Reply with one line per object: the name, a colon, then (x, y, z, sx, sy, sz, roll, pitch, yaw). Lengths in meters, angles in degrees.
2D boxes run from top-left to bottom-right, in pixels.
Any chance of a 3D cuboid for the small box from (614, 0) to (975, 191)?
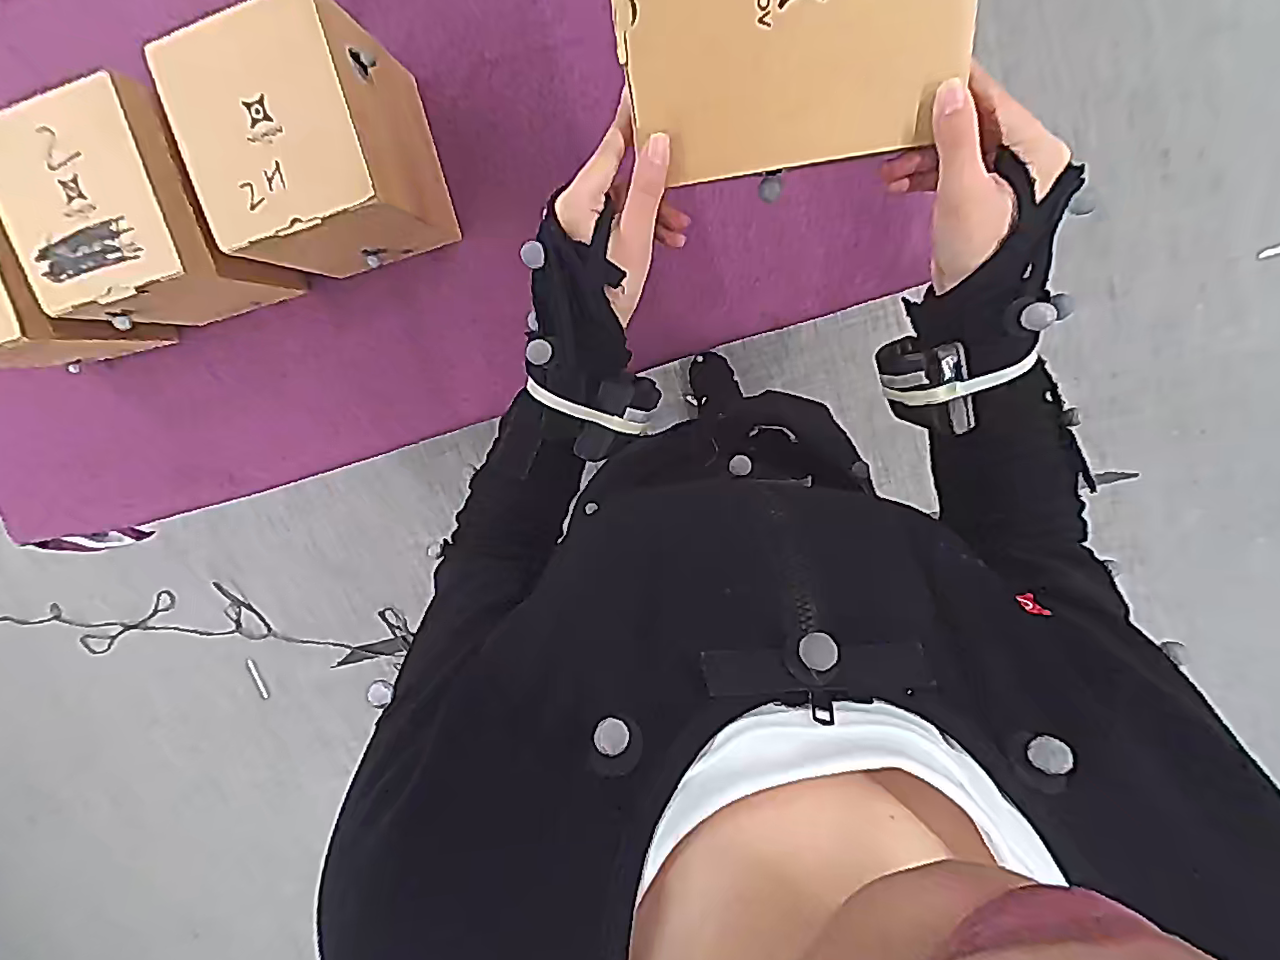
small box: (0.079, -0.283, 0.331, 0.179, 0.176, 0.168, -5, 118, 9)
